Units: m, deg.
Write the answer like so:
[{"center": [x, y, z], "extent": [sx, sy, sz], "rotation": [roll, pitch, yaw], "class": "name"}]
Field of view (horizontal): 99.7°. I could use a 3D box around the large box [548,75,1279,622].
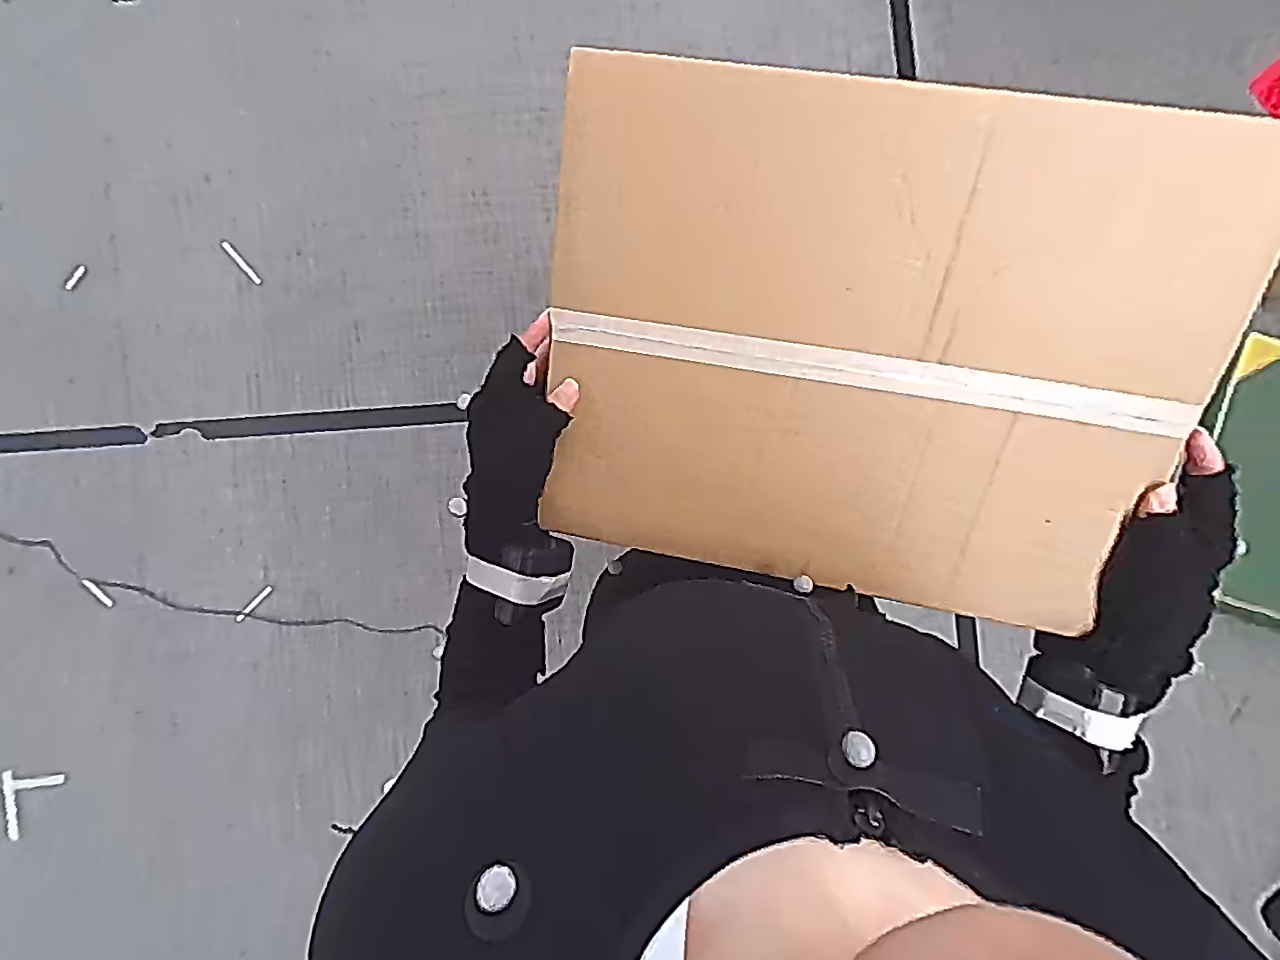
[{"center": [0.160, -0.118, 0.499], "extent": [0.408, 0.320, 0.320], "rotation": [11, 110, 6], "class": "large box"}]
